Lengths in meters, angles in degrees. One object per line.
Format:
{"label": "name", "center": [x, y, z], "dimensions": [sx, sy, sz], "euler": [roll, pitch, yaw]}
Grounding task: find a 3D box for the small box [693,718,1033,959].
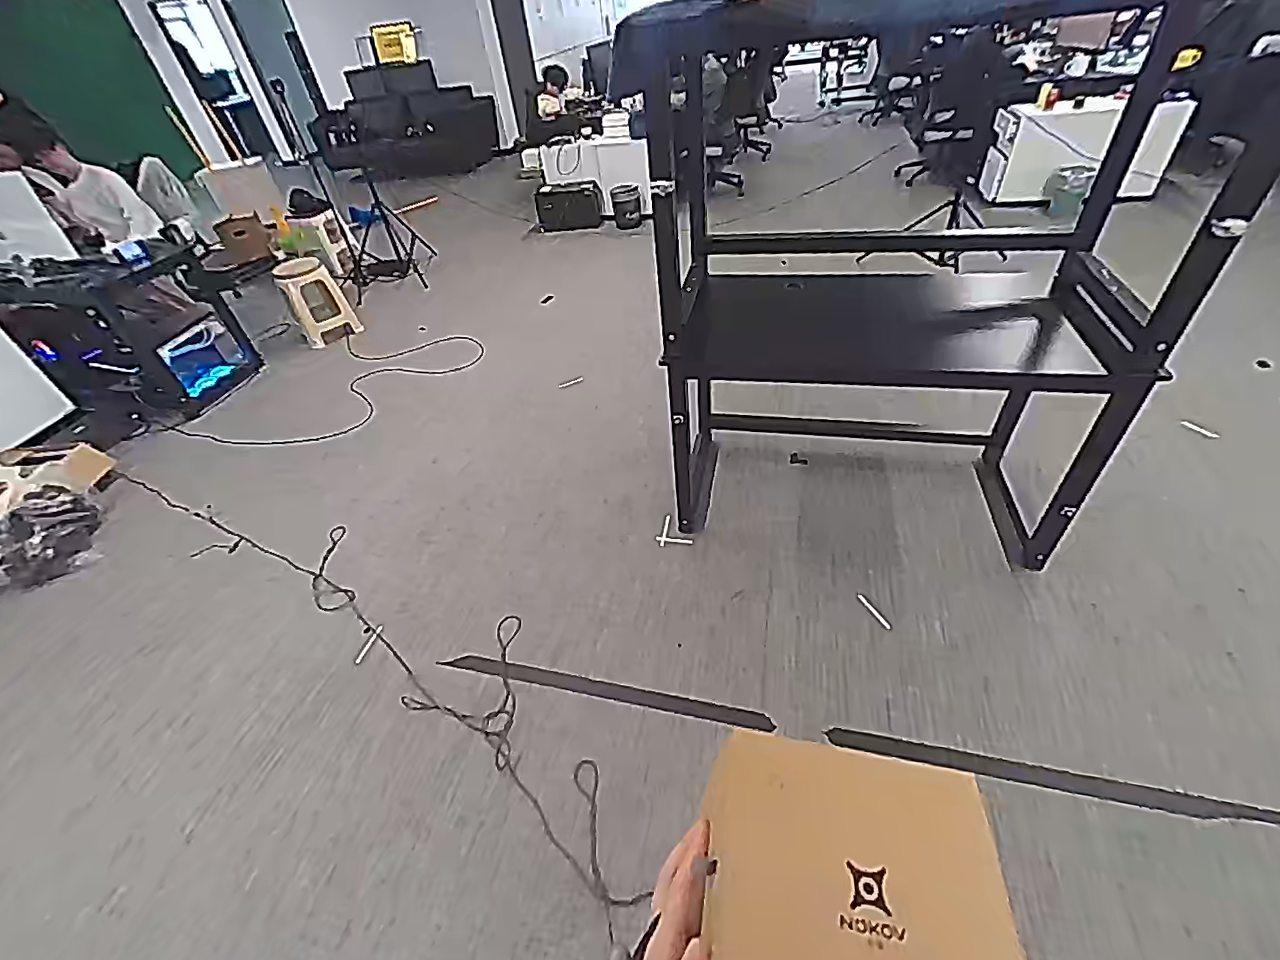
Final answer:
{"label": "small box", "center": [0.127, 0.294, 0.361], "dimensions": [0.168, 0.176, 0.179], "euler": [9, 44, 6]}
